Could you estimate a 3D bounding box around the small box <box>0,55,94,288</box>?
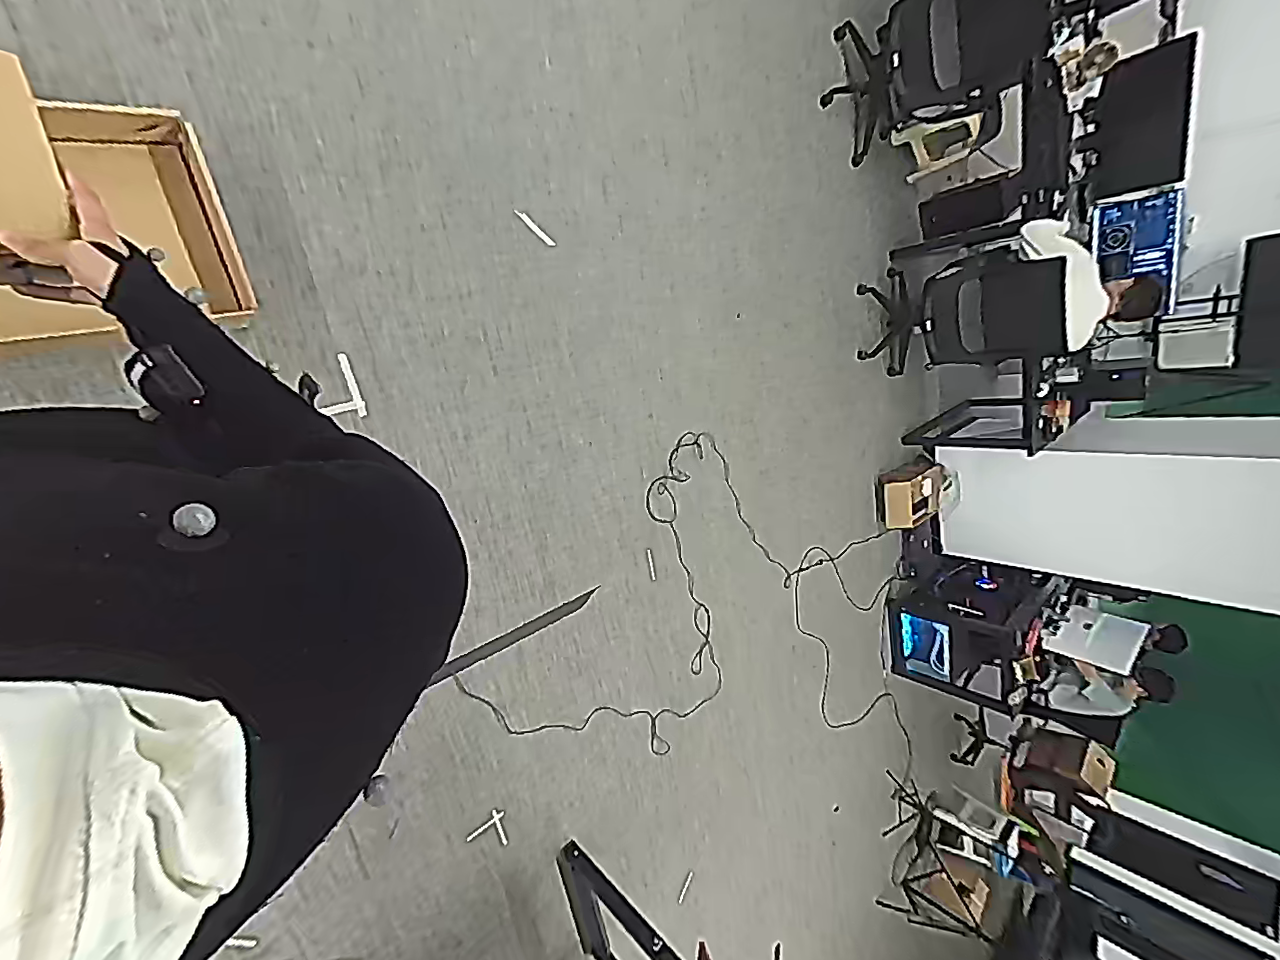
[{"bbox_3d":[-0.631,-0.264,0.470,0.179,0.176,0.168,-24,112,-46],"label":"small box"}]
